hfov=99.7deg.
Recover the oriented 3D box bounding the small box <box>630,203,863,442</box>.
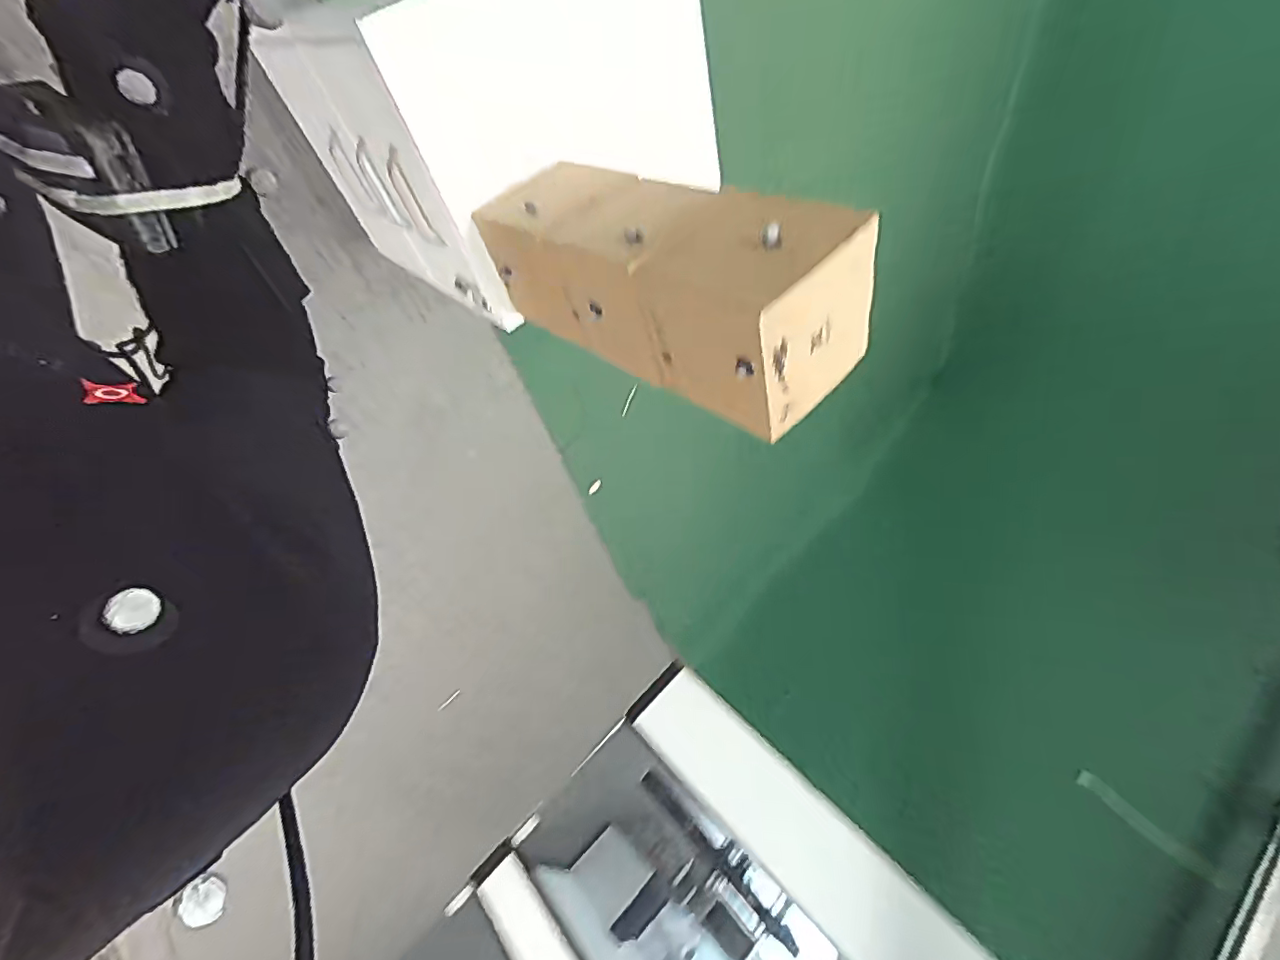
[{"bbox_3d":[0.118,-0.181,0.600,0.179,0.176,0.168,-43,142,-18],"label":"small box"}]

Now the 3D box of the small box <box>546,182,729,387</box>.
[{"bbox_3d":[0.002,-0.254,0.690,0.179,0.176,0.168,-41,142,-20],"label":"small box"}]
